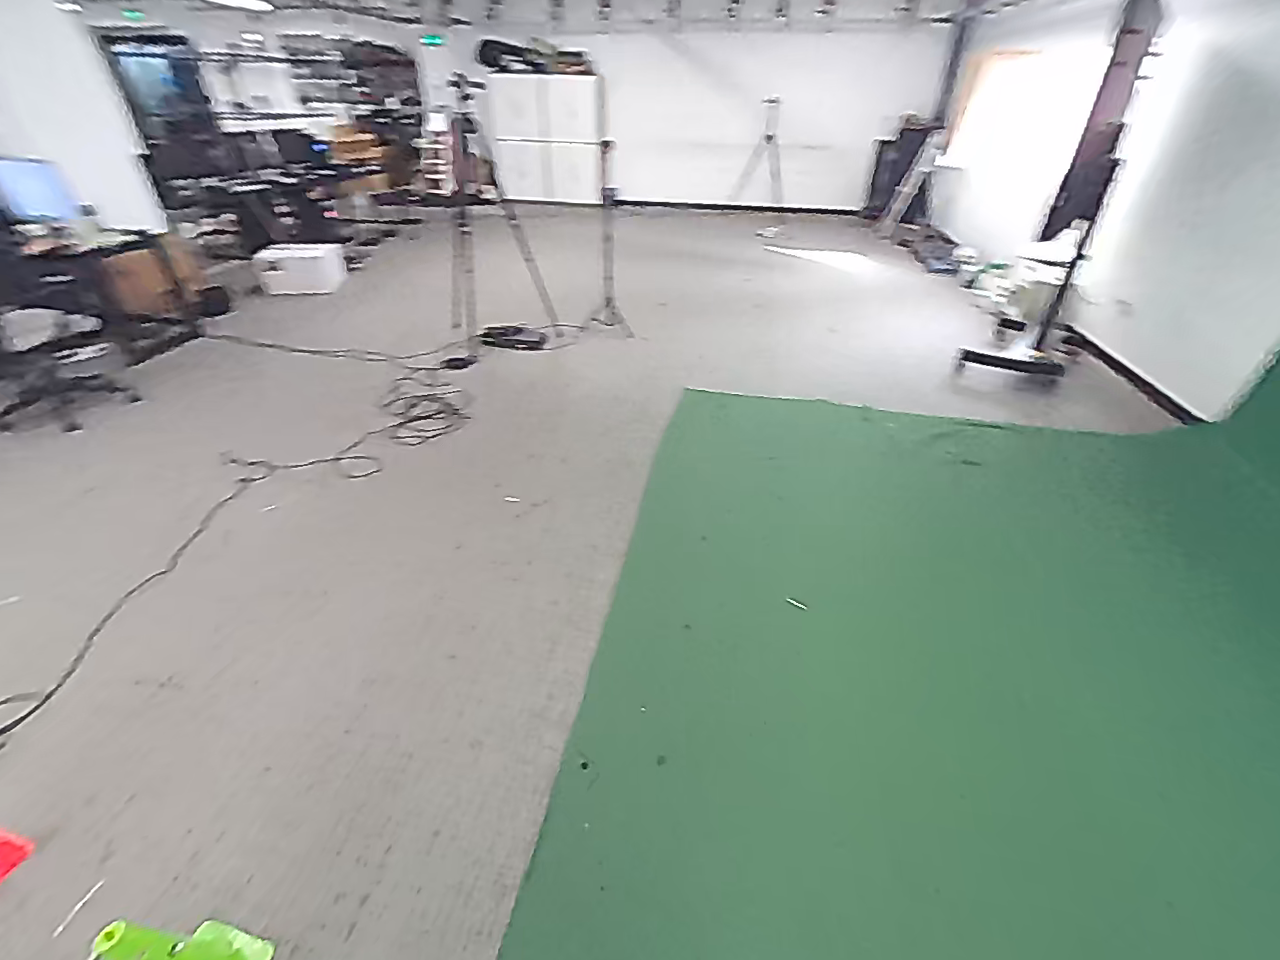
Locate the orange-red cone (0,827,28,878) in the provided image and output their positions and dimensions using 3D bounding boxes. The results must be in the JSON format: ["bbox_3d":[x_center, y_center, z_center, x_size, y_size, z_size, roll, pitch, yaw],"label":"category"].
[{"bbox_3d":[-1.628,0.813,1.196,0.199,0.360,0.198,11,38,12],"label":"orange-red cone"}]

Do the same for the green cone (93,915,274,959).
[{"bbox_3d":[-0.922,0.926,1.045,0.202,0.368,0.200,8,35,12],"label":"green cone"}]
